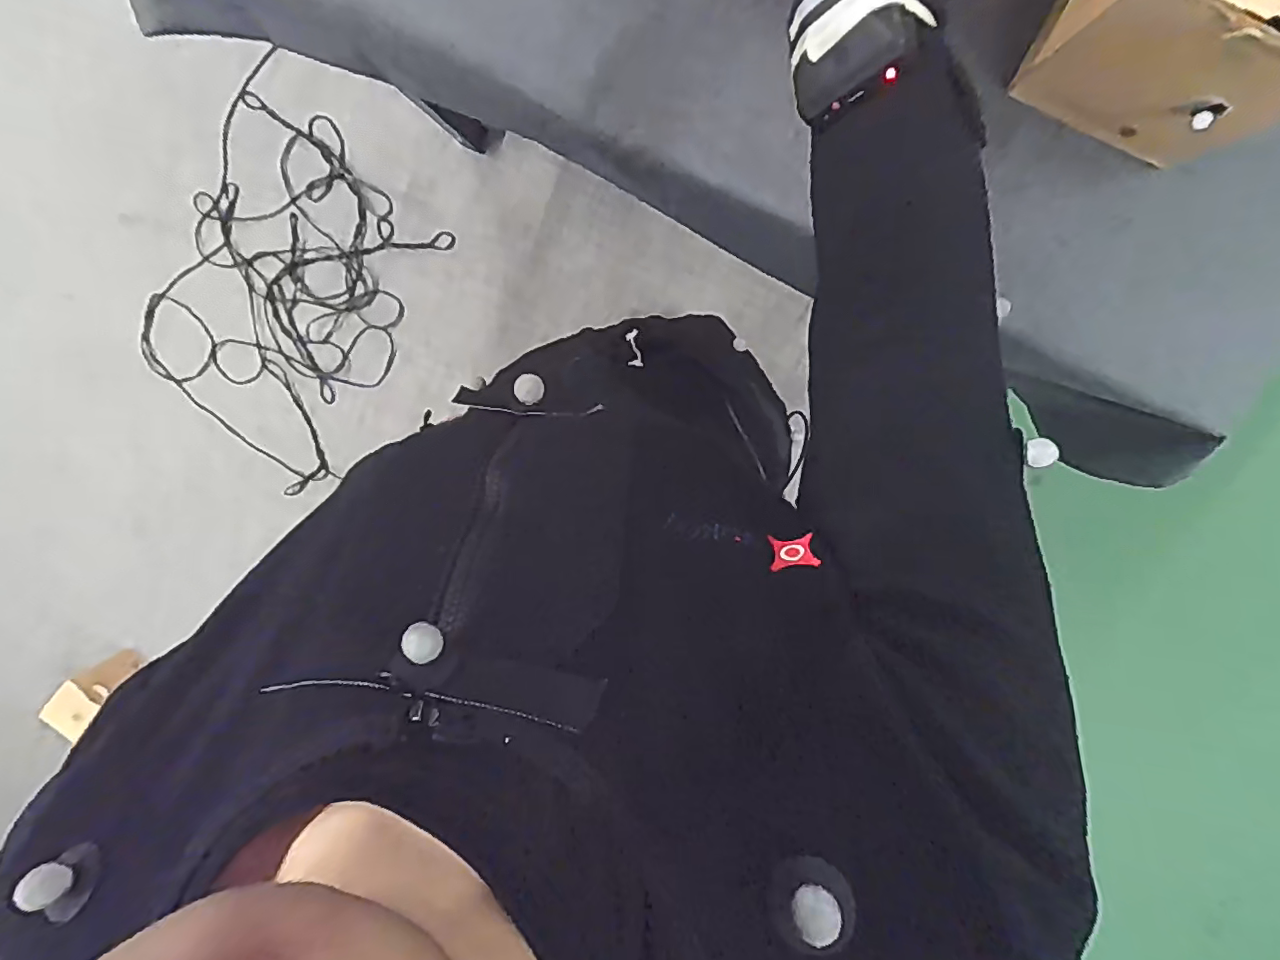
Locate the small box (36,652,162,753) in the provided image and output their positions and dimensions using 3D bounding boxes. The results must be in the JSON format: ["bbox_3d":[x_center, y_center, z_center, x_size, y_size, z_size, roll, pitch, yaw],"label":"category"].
[{"bbox_3d":[-1.567,0.643,1.577,0.179,0.176,0.168,-43,96,13],"label":"small box"}]

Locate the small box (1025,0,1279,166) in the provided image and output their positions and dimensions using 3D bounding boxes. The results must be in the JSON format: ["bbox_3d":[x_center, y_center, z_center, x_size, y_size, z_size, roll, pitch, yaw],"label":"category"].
[{"bbox_3d":[0.431,-0.366,0.391,0.168,0.176,0.179,24,103,-3],"label":"small box"}]
